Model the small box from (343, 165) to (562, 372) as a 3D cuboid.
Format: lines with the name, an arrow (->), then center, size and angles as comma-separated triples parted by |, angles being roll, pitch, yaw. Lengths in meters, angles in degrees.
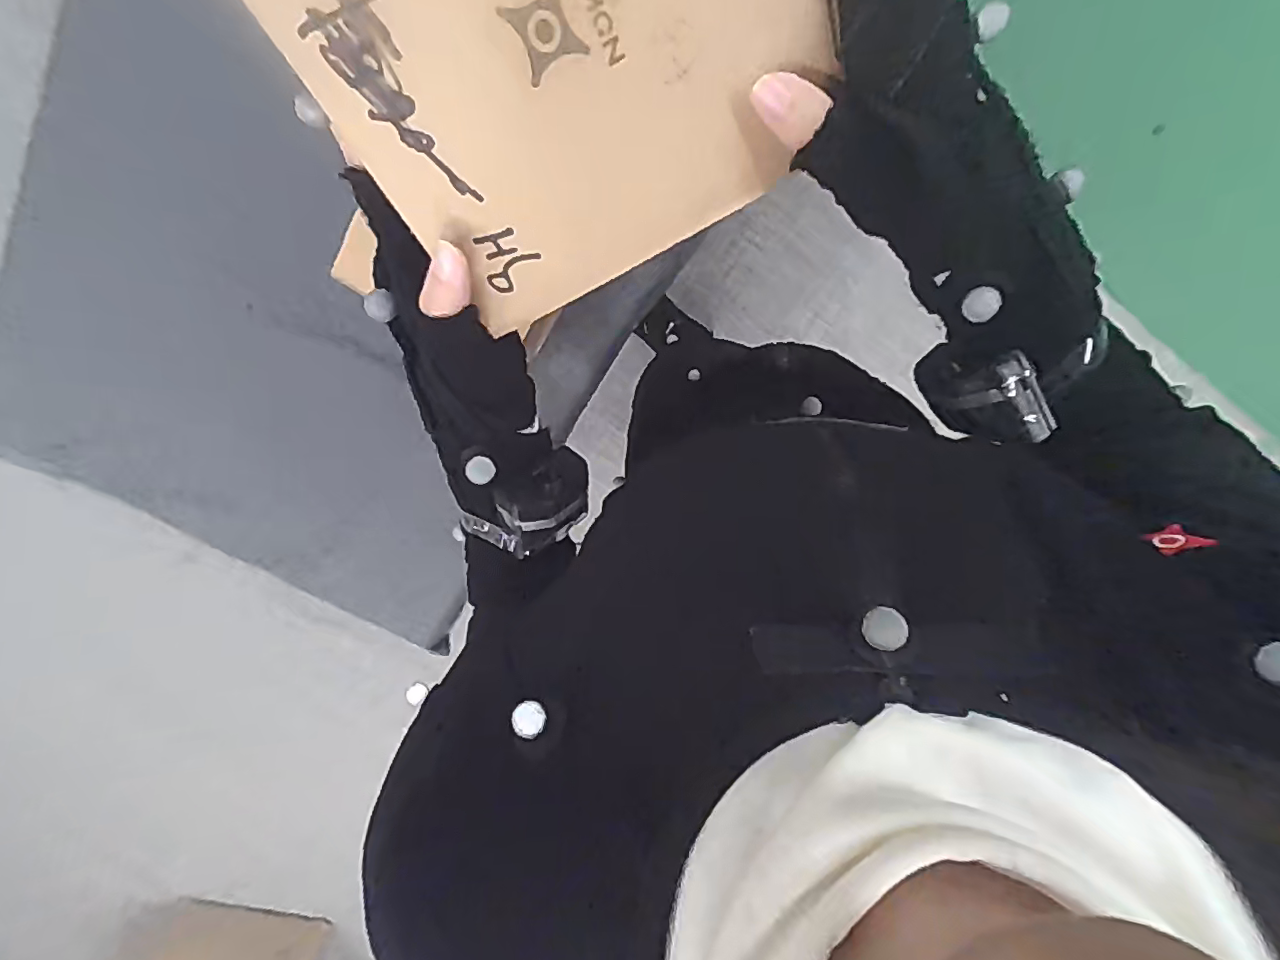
small box -> -0.141, -0.235, 0.525 | 0.168, 0.176, 0.179 | 31, 110, -10

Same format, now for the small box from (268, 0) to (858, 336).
small box -> -0.032, -0.203, 0.243 | 0.179, 0.176, 0.168 | -24, 131, 8
